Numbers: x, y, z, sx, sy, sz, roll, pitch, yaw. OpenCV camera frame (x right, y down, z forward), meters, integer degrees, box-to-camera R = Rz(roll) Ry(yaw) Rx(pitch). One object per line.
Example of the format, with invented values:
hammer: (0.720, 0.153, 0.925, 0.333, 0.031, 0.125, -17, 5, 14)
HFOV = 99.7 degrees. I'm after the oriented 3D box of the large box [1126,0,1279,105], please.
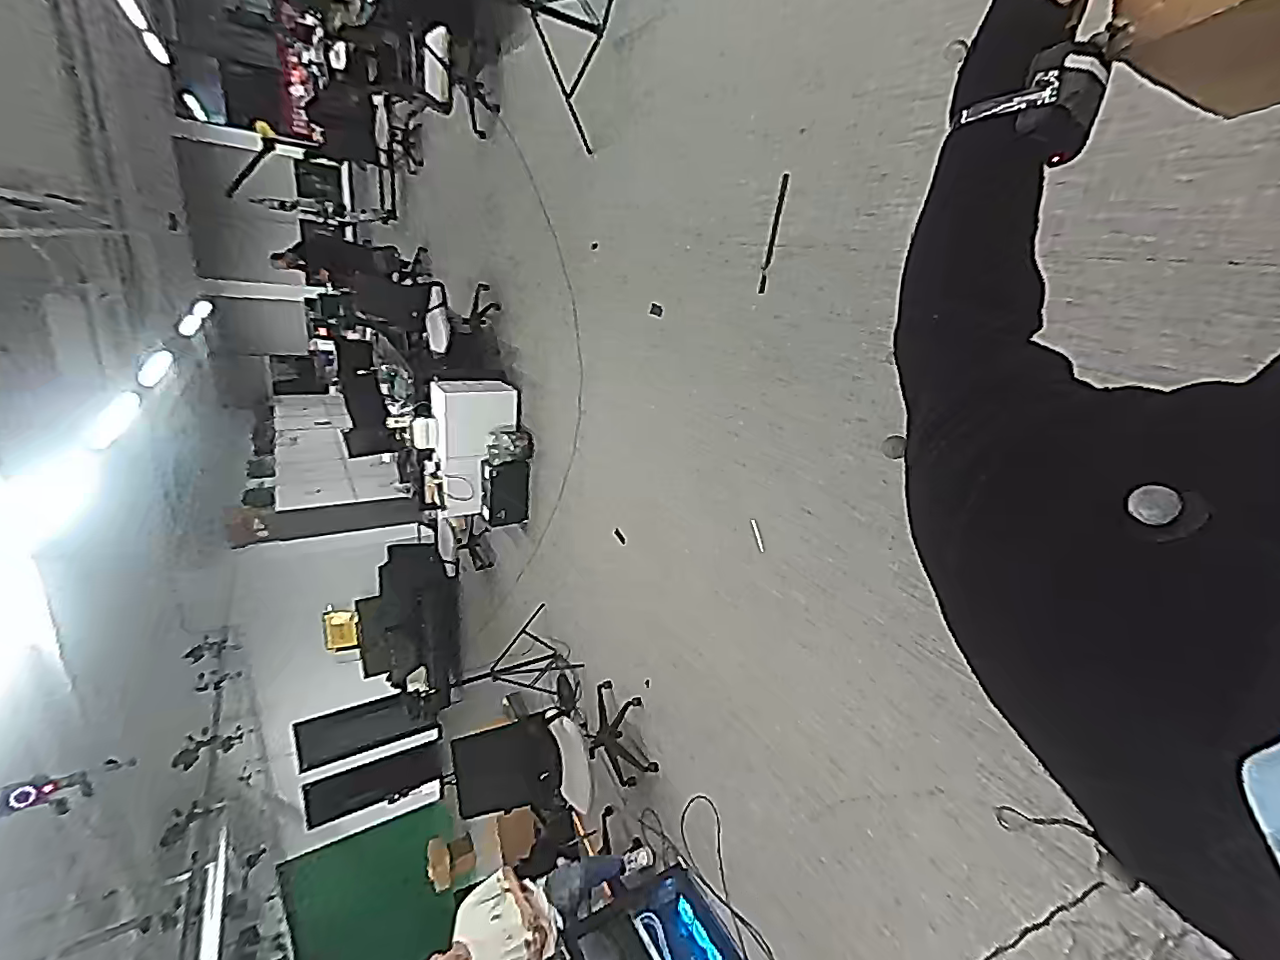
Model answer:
large box: (0.568, -0.471, 0.275, 0.408, 0.320, 0.320, 11, 110, 57)
